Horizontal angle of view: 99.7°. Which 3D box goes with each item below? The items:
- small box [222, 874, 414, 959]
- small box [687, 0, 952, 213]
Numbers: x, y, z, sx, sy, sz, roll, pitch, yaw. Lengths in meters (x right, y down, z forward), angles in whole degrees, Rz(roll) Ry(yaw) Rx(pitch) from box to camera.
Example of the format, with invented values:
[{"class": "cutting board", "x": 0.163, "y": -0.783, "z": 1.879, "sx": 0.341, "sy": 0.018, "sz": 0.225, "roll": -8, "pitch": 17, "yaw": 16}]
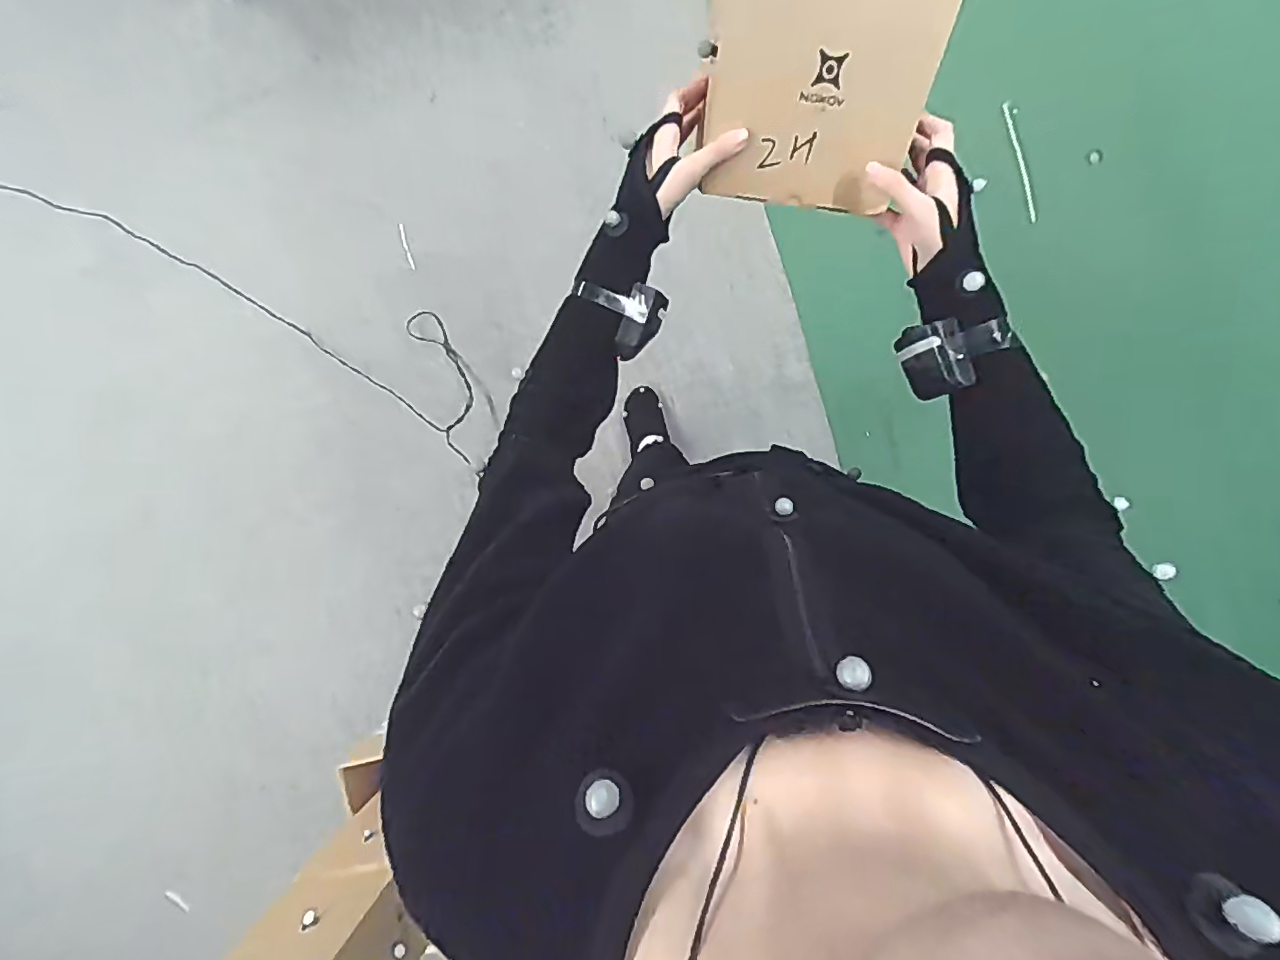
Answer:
[{"class": "small box", "x": -0.443, "y": 0.688, "z": 0.746, "sx": 0.179, "sy": 0.176, "sz": 0.168, "roll": -11, "pitch": 91, "yaw": 5}, {"class": "small box", "x": 0.137, "y": -0.357, "z": 0.477, "sx": 0.168, "sy": 0.176, "sz": 0.179, "roll": 6, "pitch": 127, "yaw": -3}]
